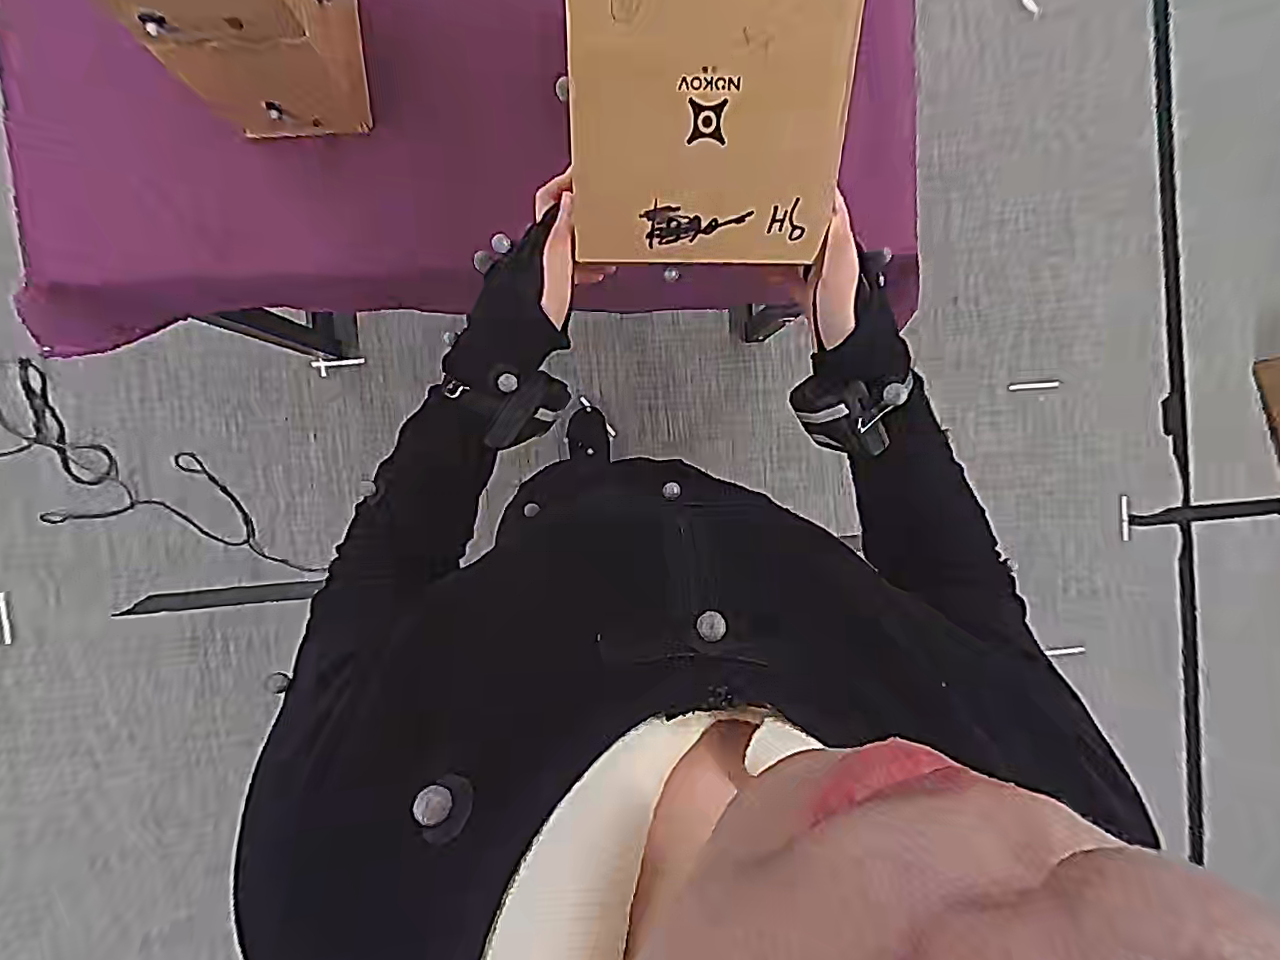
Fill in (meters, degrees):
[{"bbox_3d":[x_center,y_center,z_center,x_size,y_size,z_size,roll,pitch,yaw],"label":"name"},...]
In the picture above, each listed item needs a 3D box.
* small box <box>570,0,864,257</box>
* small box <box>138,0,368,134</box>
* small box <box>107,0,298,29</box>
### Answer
[{"bbox_3d":[0.037,-0.259,0.385,0.168,0.176,0.179,0,116,-2],"label":"small box"},{"bbox_3d":[-0.442,-0.544,0.633,0.168,0.176,0.179,-6,94,-4],"label":"small box"},{"bbox_3d":[-0.431,-0.535,0.469,0.168,0.176,0.179,-7,94,-4],"label":"small box"}]
